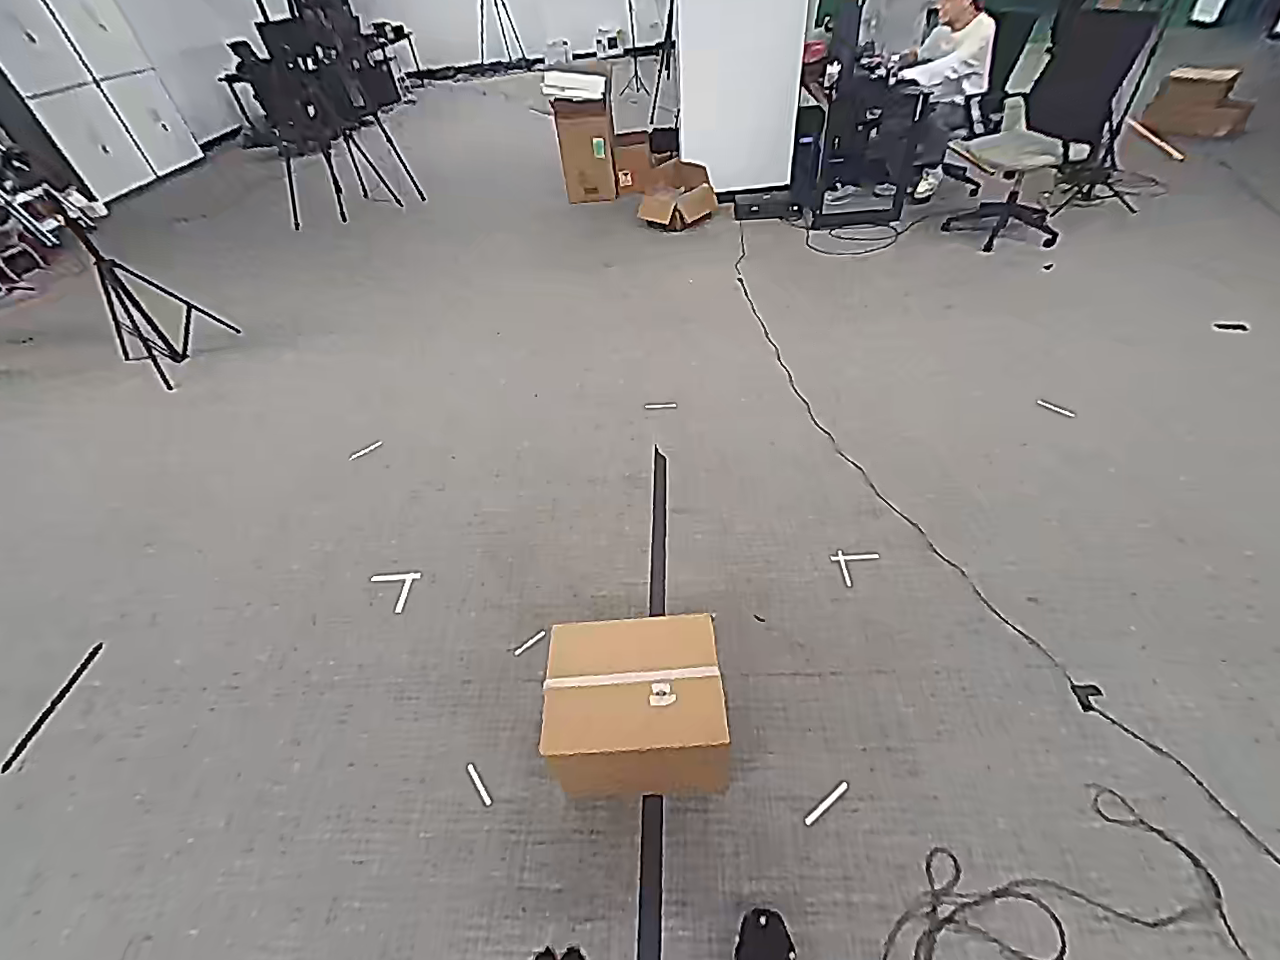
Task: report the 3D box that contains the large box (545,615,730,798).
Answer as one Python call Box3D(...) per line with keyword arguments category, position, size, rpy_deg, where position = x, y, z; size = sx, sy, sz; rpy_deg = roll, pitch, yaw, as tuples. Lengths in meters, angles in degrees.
Box3D(category="large box", position=(-0.002, 0.567, 1.350), size=(0.408, 0.320, 0.320), rpy_deg=(-5, 45, 2))
